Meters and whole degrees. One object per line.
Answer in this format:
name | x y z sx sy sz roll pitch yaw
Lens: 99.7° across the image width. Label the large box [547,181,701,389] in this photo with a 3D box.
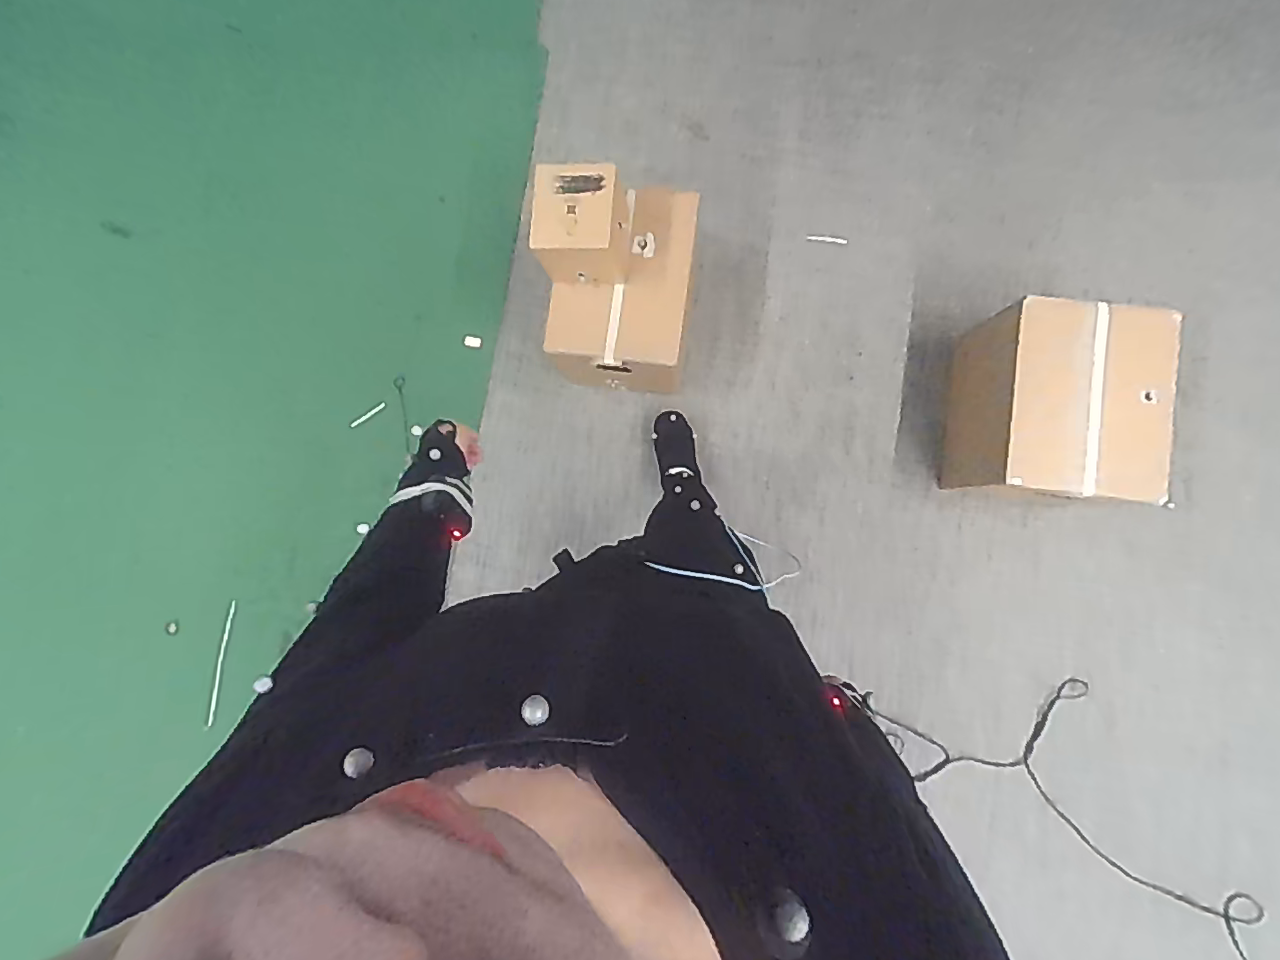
large box | -0.022 -0.472 1.378 0.320 0.320 0.408 8 87 6
